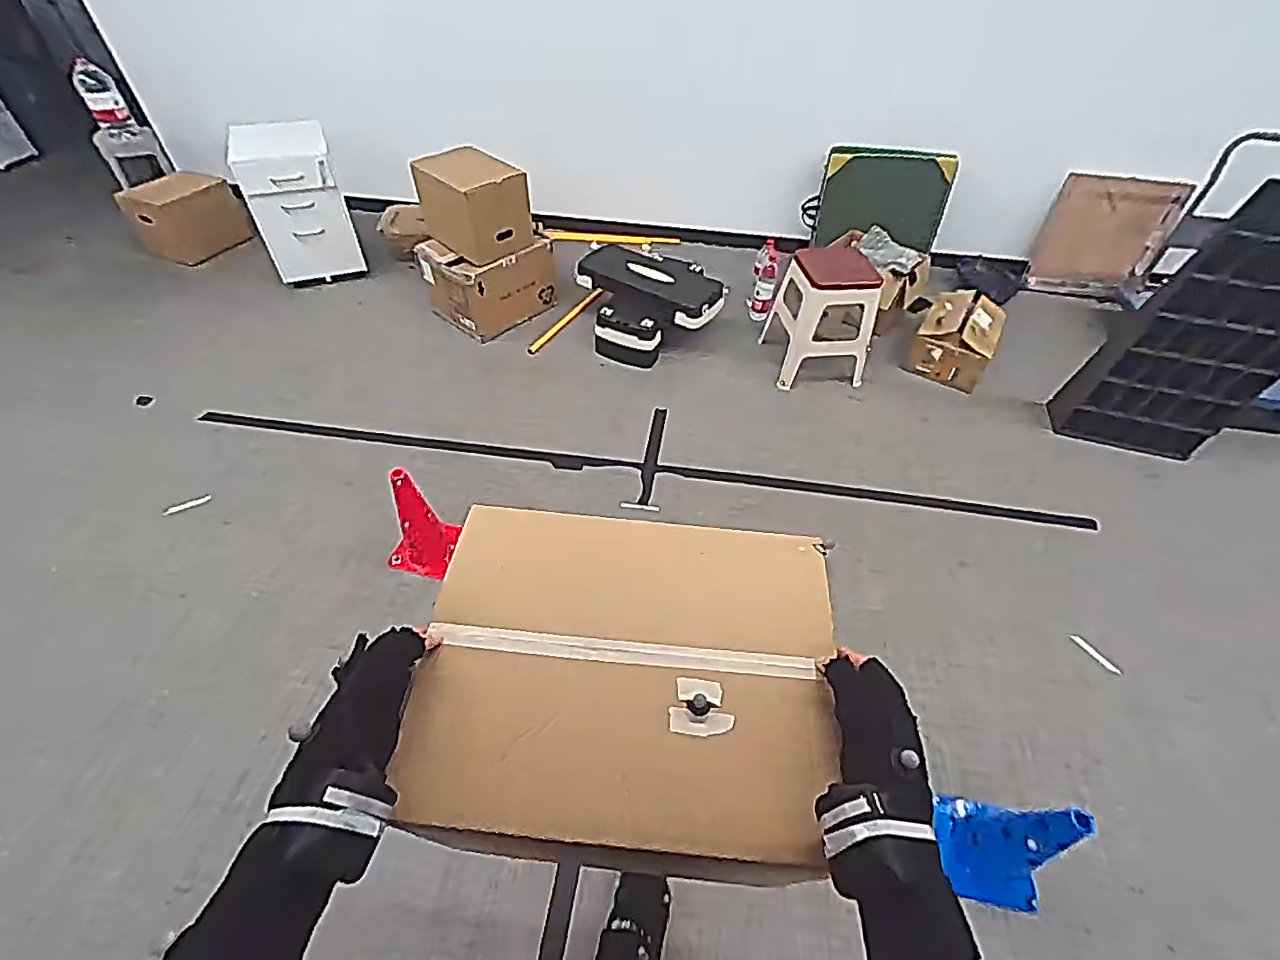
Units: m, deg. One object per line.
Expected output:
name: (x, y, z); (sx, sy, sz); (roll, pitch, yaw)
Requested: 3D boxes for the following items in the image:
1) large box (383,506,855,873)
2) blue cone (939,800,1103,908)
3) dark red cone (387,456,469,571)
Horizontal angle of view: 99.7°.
large box: (-0.015, 0.258, 0.653); (0.408, 0.320, 0.320); (6, 52, 1)
blue cone: (0.801, 0.744, 1.120); (0.192, 0.380, 0.193); (11, 49, 6)
dark red cone: (-0.658, 0.081, 1.591); (0.201, 0.394, 0.202); (13, 49, 7)
